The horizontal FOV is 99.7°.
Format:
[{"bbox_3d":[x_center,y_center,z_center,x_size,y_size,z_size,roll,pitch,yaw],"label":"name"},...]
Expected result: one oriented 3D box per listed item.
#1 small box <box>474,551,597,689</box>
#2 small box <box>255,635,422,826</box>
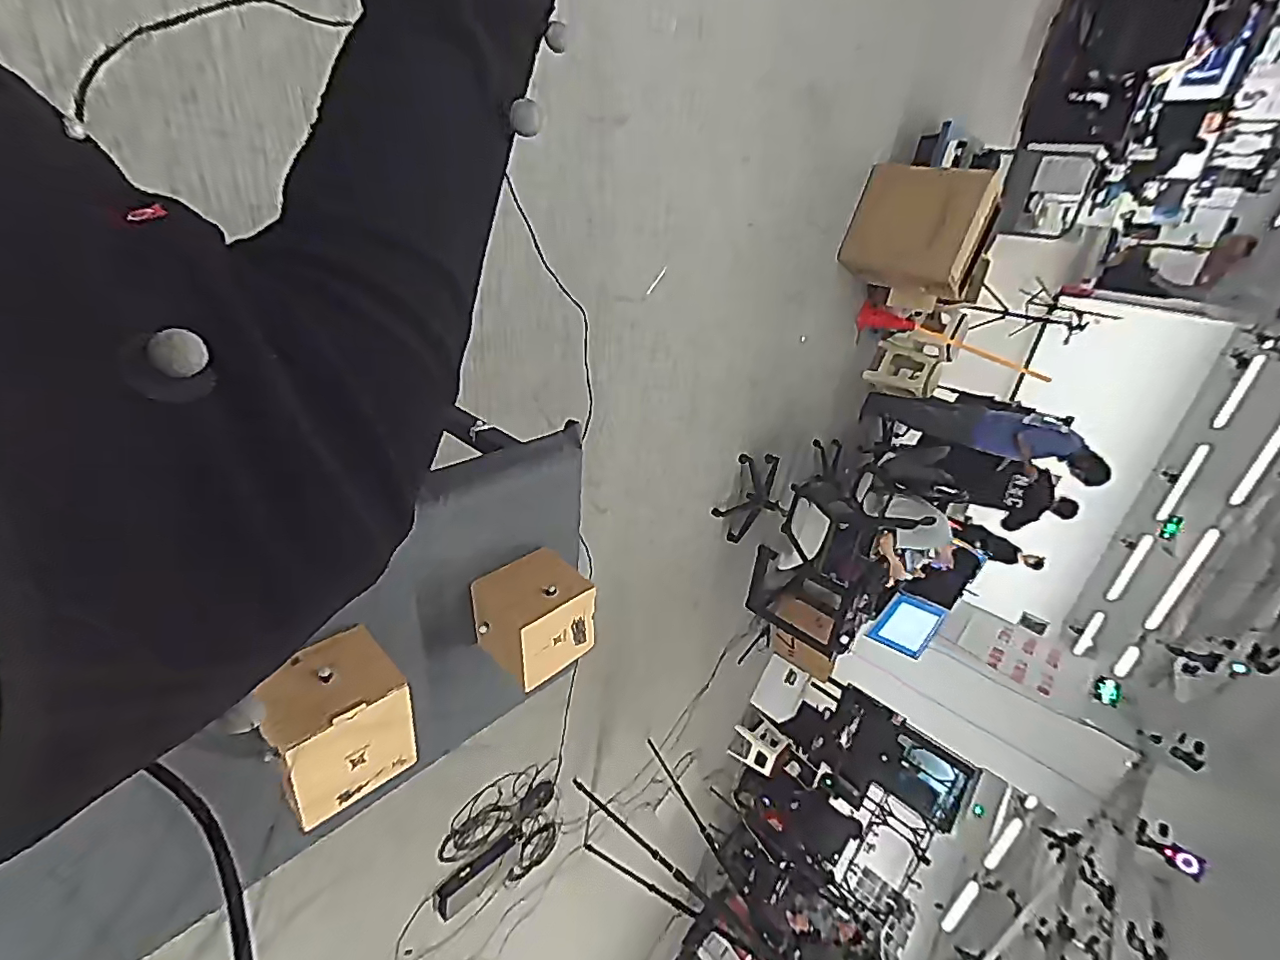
[{"bbox_3d":[-0.206,0.268,1.080,0.179,0.176,0.168,-25,130,-40],"label":"small box"},{"bbox_3d":[-0.458,0.364,0.826,0.168,0.176,0.179,-21,127,-43],"label":"small box"}]
